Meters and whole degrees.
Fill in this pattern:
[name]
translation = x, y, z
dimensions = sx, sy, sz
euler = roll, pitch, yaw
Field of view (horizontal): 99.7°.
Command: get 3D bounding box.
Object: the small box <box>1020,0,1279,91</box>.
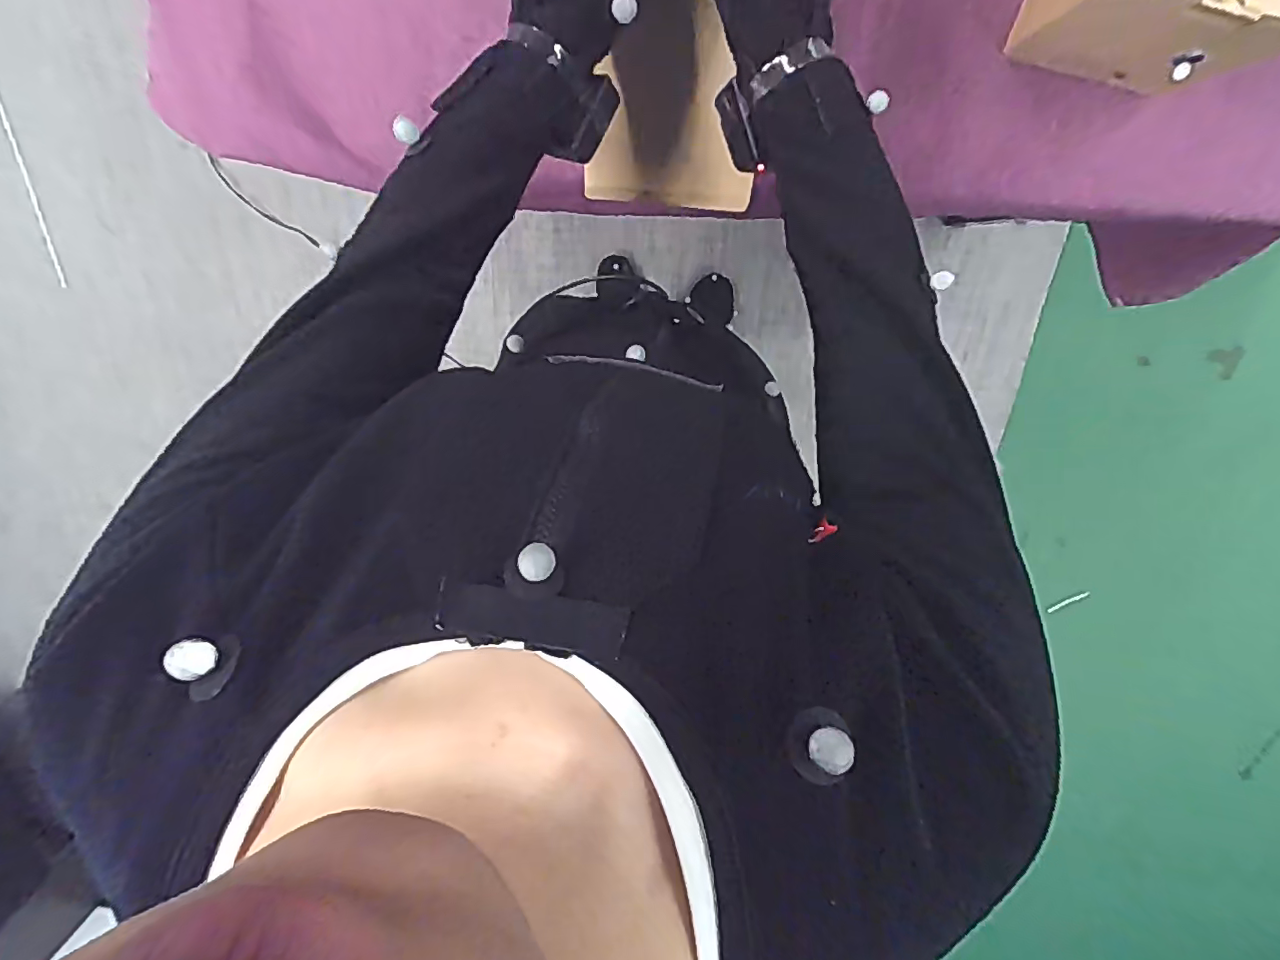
[small box]
translation = 0.448, -0.442, 0.425
dimensions = 0.168, 0.176, 0.179
euler = 15, 113, -1
